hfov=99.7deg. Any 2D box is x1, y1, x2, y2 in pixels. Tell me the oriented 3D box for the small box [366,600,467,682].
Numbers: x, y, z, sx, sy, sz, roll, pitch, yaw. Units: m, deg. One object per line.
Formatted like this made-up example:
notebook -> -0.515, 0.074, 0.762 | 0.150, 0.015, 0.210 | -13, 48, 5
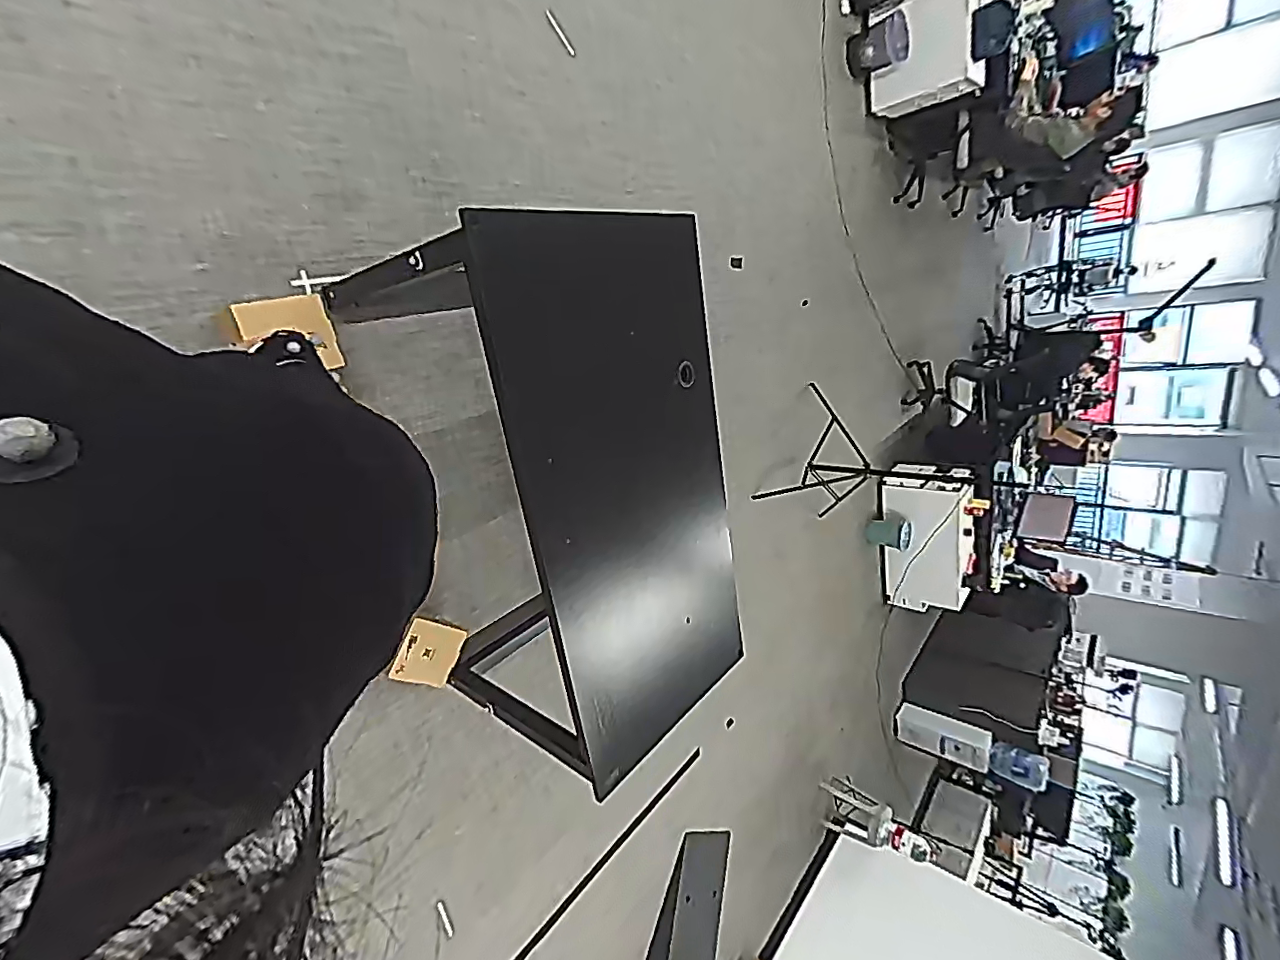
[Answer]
small box -> -0.633, 0.454, 1.534 | 0.179, 0.176, 0.168 | 35, 70, -44
